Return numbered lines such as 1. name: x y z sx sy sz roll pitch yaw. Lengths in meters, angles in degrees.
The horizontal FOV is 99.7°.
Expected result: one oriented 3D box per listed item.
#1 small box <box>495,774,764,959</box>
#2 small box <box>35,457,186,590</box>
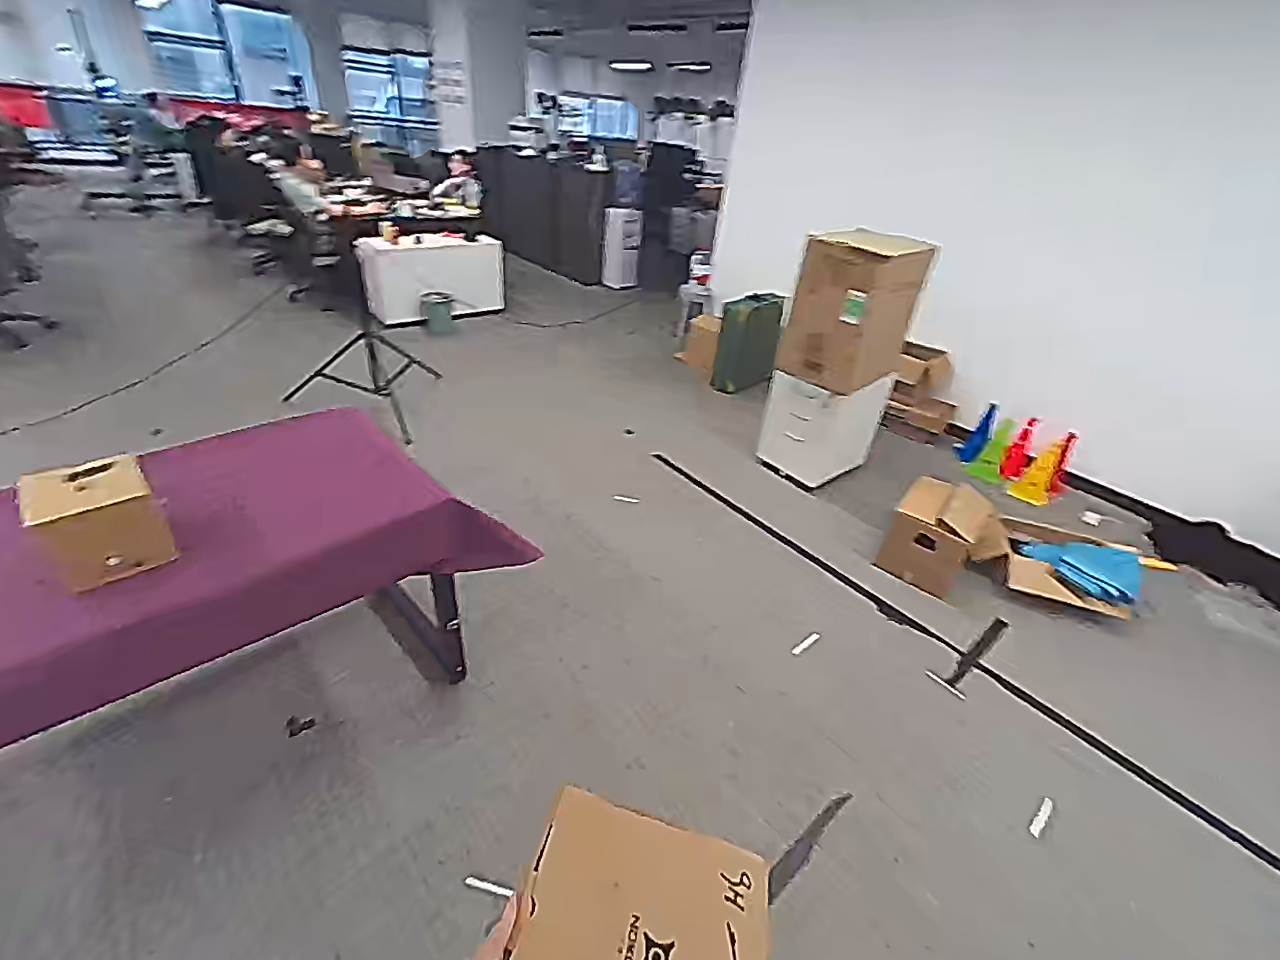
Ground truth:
1. small box: -0.019 0.367 0.414 0.179 0.176 0.168 18 37 0
2. small box: -1.038 0.083 1.067 0.168 0.176 0.179 -24 44 -38
